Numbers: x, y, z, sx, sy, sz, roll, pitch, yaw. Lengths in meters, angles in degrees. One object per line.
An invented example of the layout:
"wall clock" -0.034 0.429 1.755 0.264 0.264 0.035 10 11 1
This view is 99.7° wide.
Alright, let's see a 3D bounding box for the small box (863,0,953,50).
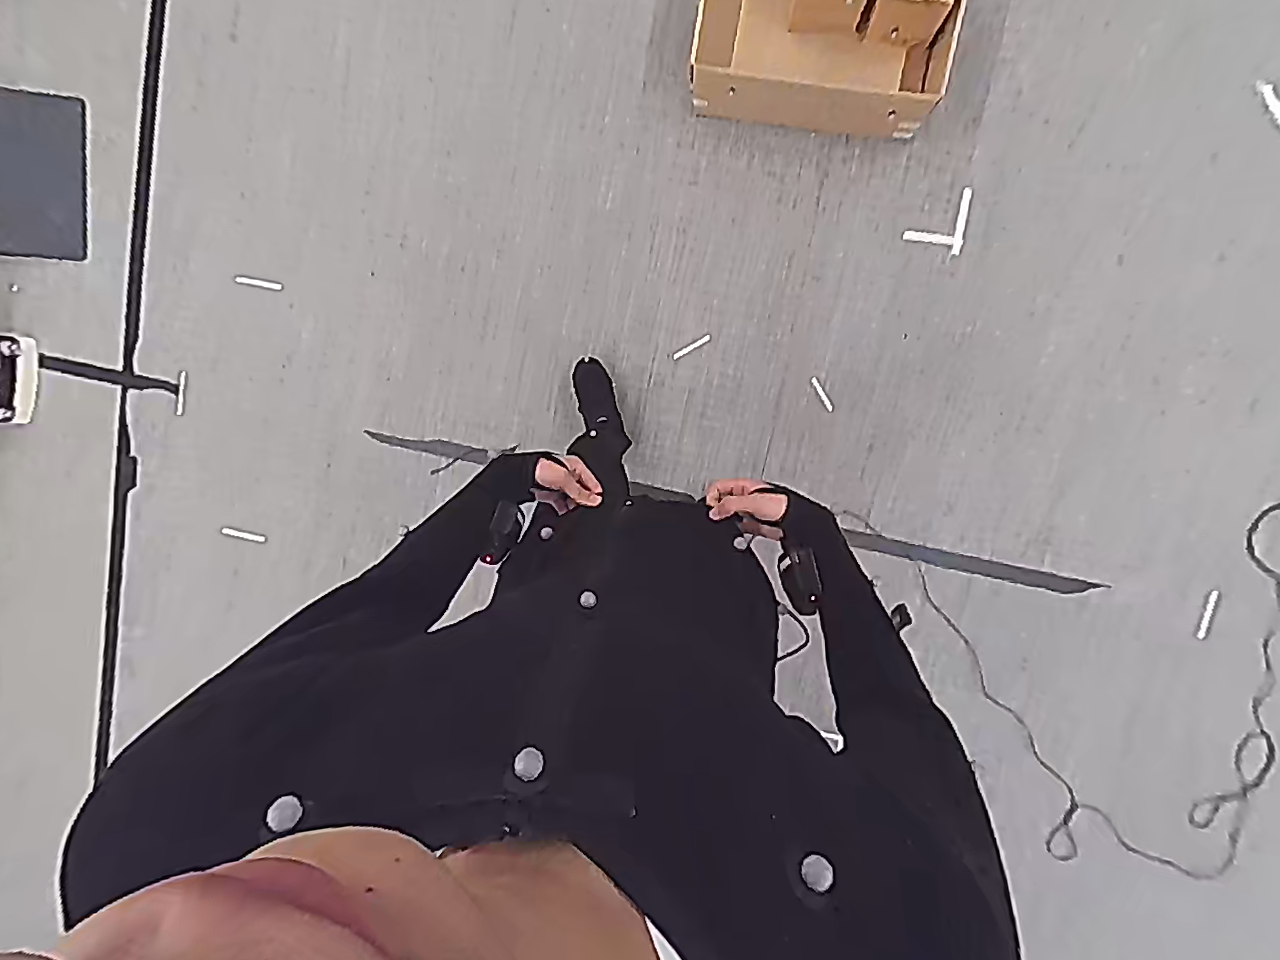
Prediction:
"small box" 0.662 -1.203 1.314 0.168 0.176 0.179 11 99 6
